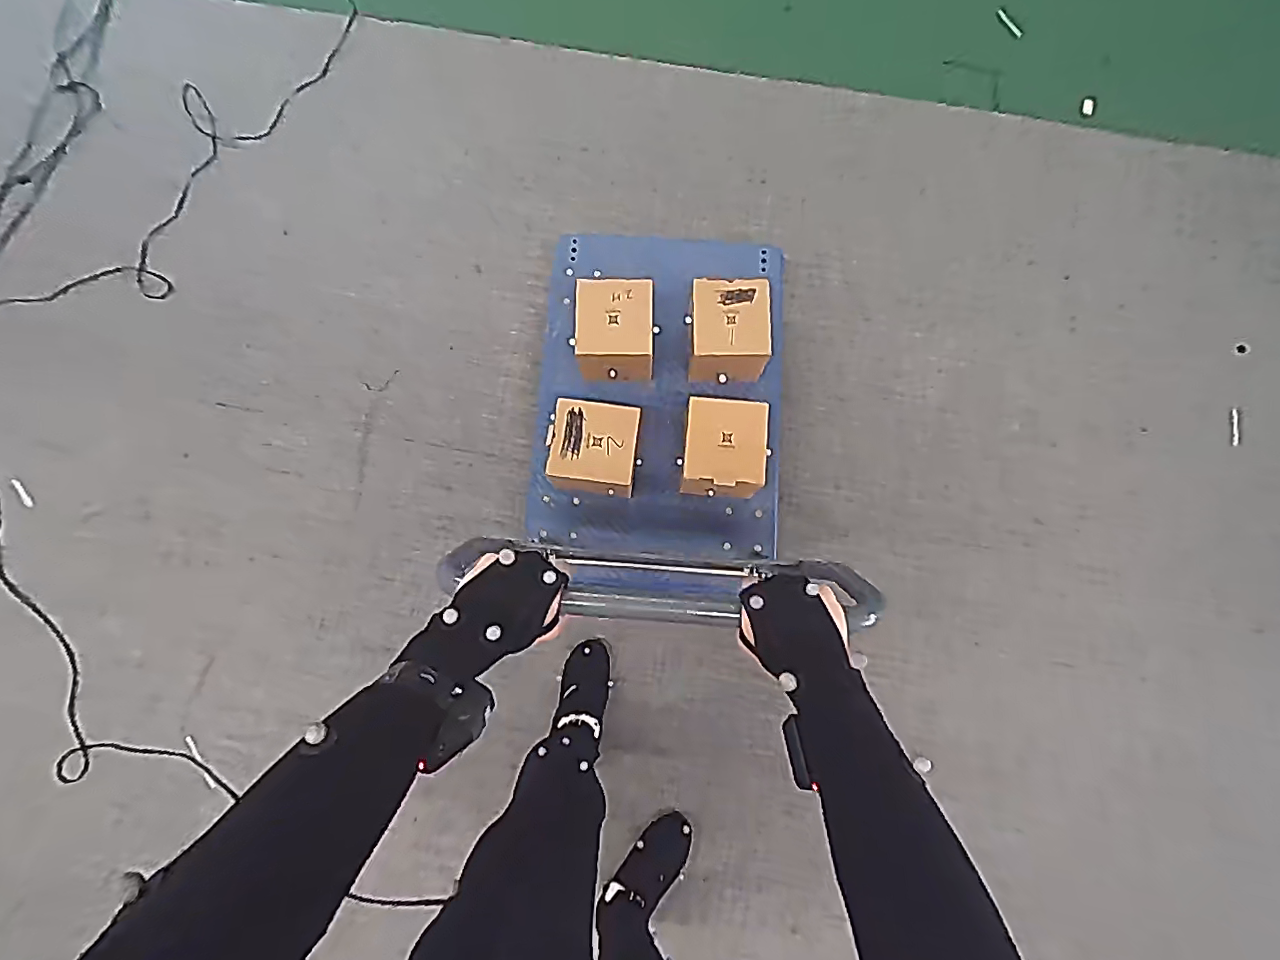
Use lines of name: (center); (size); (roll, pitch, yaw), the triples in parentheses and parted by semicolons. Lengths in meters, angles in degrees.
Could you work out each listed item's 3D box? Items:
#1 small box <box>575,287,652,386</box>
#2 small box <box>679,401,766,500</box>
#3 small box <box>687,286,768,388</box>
small box: (-0.056, -0.326, 1.254); (0.168, 0.176, 0.179); (1, 79, 0)
small box: (0.177, -0.061, 1.203); (0.168, 0.176, 0.179); (5, 80, 1)
small box: (0.196, -0.326, 1.252); (0.168, 0.176, 0.179); (0, 80, 1)
